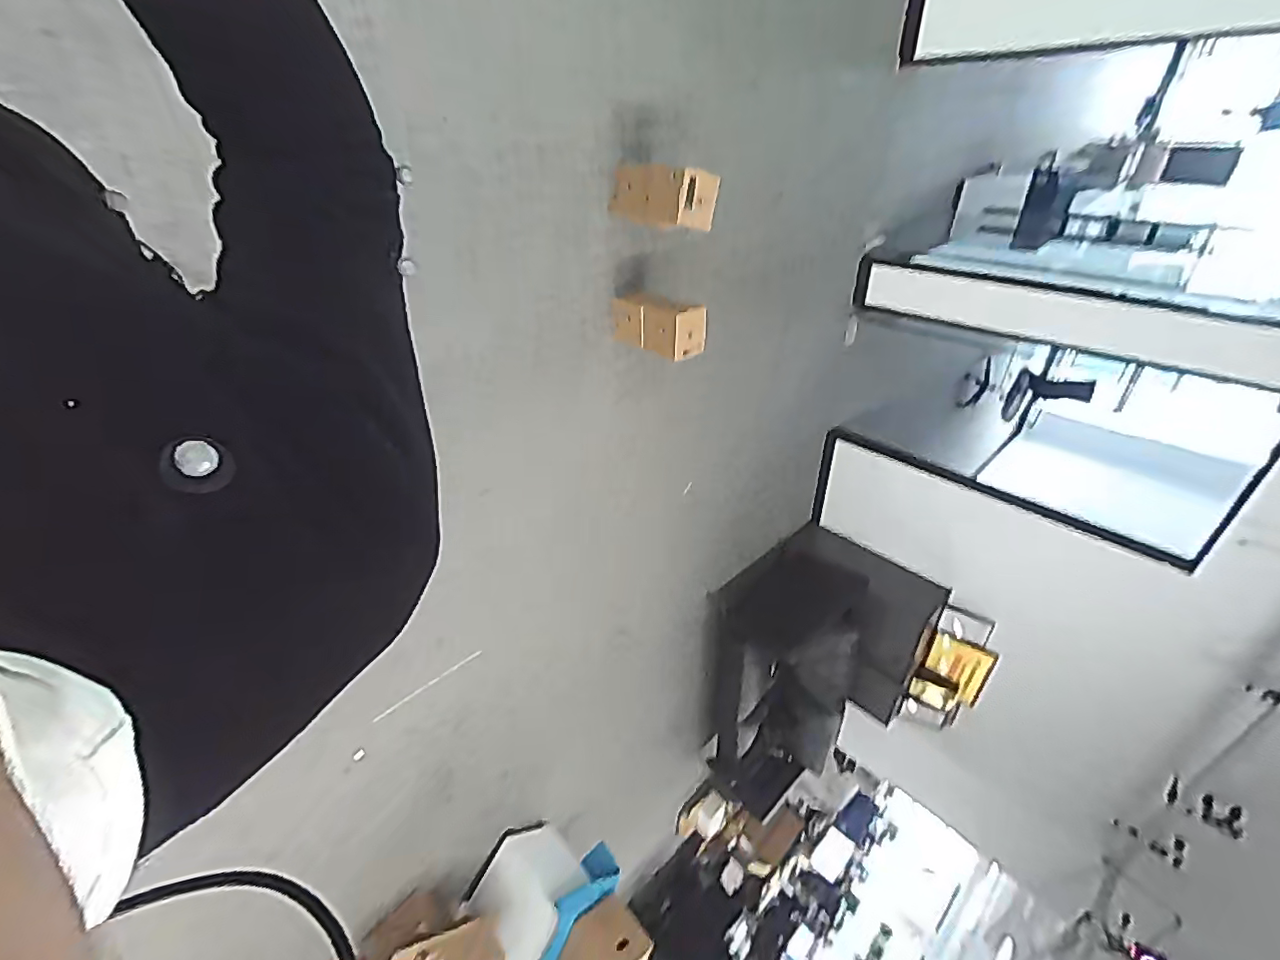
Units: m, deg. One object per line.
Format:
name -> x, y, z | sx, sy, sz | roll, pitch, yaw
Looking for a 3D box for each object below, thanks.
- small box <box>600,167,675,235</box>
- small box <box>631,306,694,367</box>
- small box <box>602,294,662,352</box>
small box -> -0.013, -0.970, 1.878 | 0.179, 0.176, 0.168 | -6, 119, -48
small box -> 0.080, -0.542, 2.010 | 0.168, 0.176, 0.179 | -26, 131, -37
small box -> -0.037, -0.613, 2.102 | 0.179, 0.176, 0.168 | -28, 133, -36
